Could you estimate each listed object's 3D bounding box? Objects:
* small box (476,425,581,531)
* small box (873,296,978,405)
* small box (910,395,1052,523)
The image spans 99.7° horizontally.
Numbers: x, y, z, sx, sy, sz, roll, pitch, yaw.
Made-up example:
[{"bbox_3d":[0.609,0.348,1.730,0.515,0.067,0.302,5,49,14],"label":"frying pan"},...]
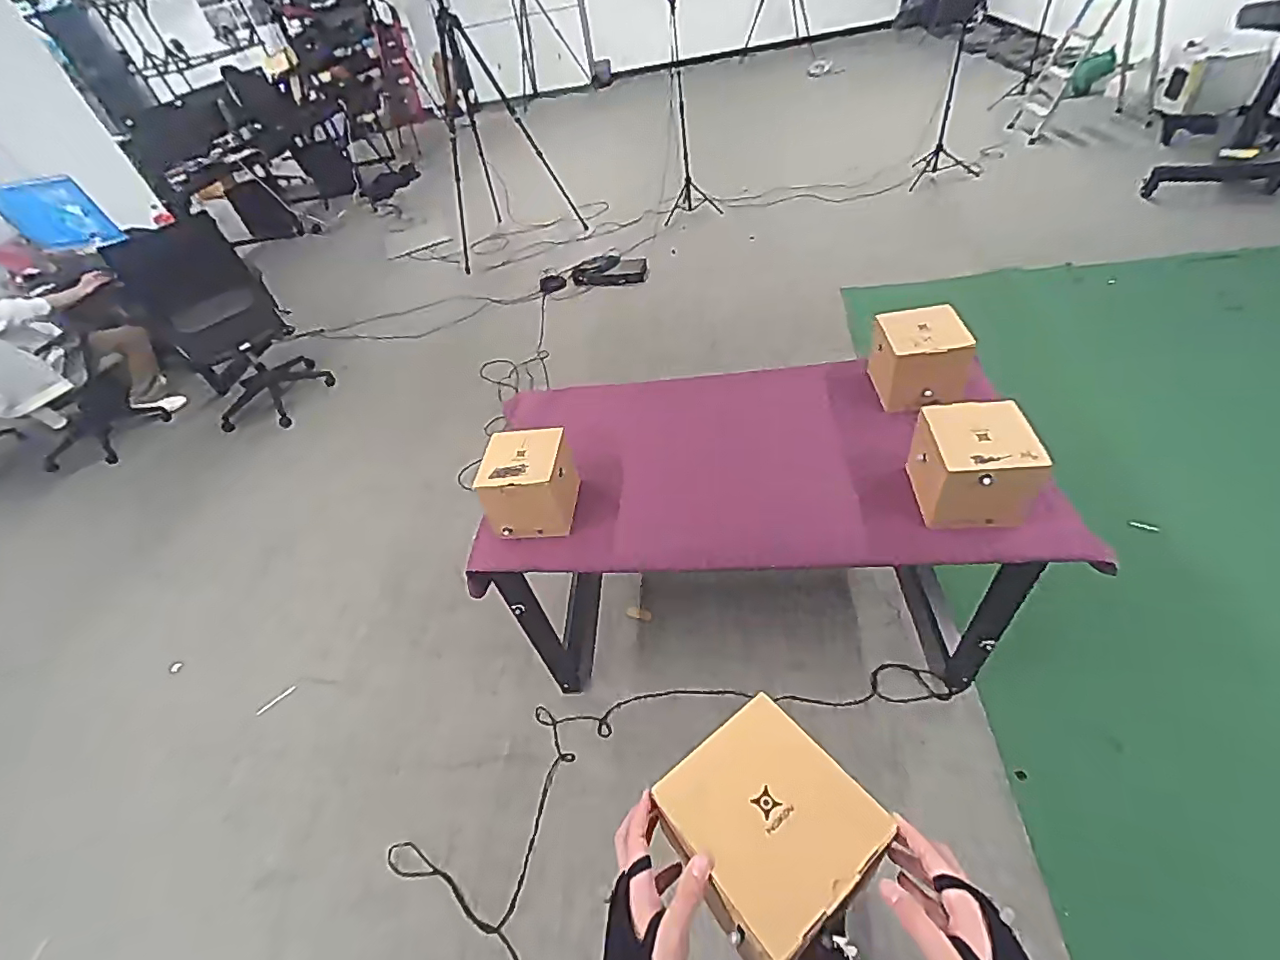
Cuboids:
[{"bbox_3d":[-0.237,0.001,1.205,0.168,0.176,0.179,-4,45,10],"label":"small box"},{"bbox_3d":[0.655,-0.301,1.265,0.168,0.176,0.179,-7,47,11],"label":"small box"},{"bbox_3d":[0.629,-0.038,1.027,0.168,0.176,0.179,-4,47,12],"label":"small box"}]
